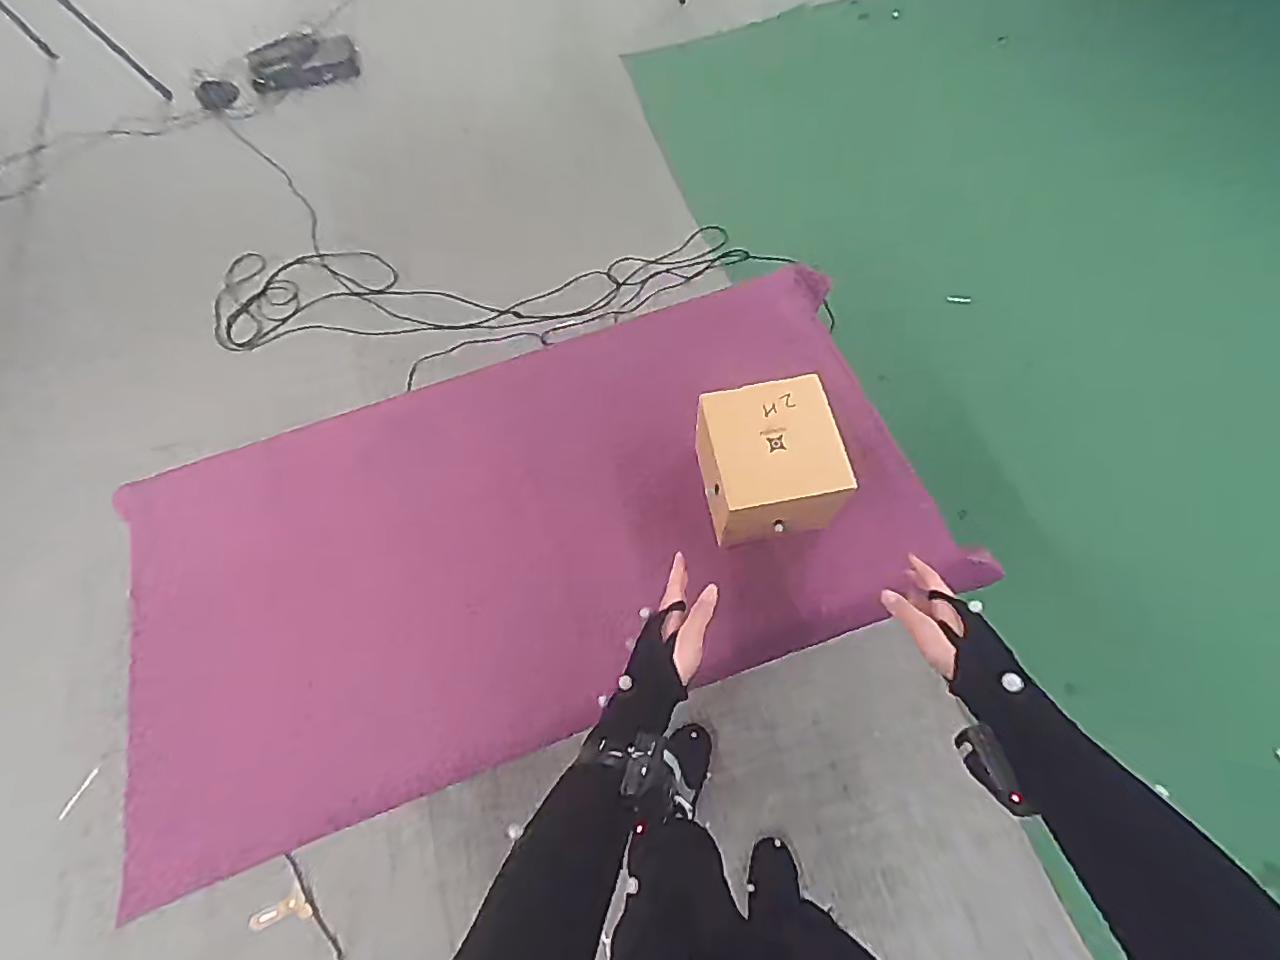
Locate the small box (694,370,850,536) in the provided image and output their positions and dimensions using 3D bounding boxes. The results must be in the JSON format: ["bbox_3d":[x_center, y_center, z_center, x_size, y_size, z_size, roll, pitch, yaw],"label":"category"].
[{"bbox_3d":[0.174,-0.027,0.772,0.168,0.176,0.179,-10,67,0],"label":"small box"}]

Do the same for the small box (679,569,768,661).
[{"bbox_3d":[0.209,0.357,1.397,0.168,0.176,0.179,-22,67,-6],"label":"small box"}]
